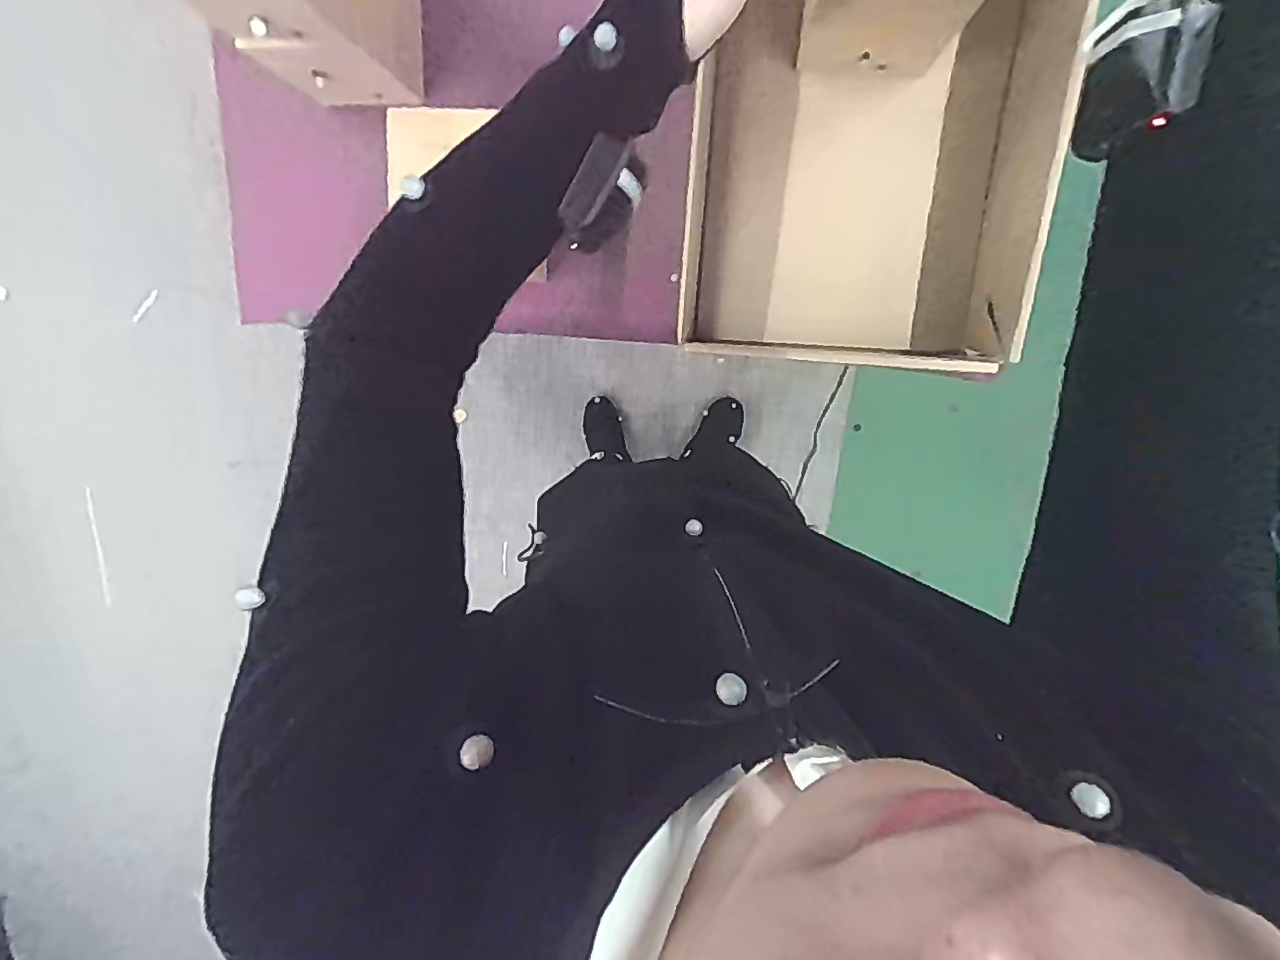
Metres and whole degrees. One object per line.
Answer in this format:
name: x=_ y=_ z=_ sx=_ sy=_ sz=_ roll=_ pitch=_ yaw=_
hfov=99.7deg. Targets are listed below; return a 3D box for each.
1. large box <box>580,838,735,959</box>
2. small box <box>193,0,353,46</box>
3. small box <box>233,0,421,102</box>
large box: x=0.070 y=1.494 z=1.798 sx=0.408 sy=0.320 sz=0.320 roll=-27 pitch=98 yaw=10
small box: x=-0.425 y=-0.607 z=0.566 sx=0.168 sy=0.176 sz=0.179 roll=8 pitch=103 yaw=5
small box: x=-0.412 y=-0.639 z=0.727 sx=0.168 sy=0.176 sz=0.179 roll=4 pitch=102 yaw=6
